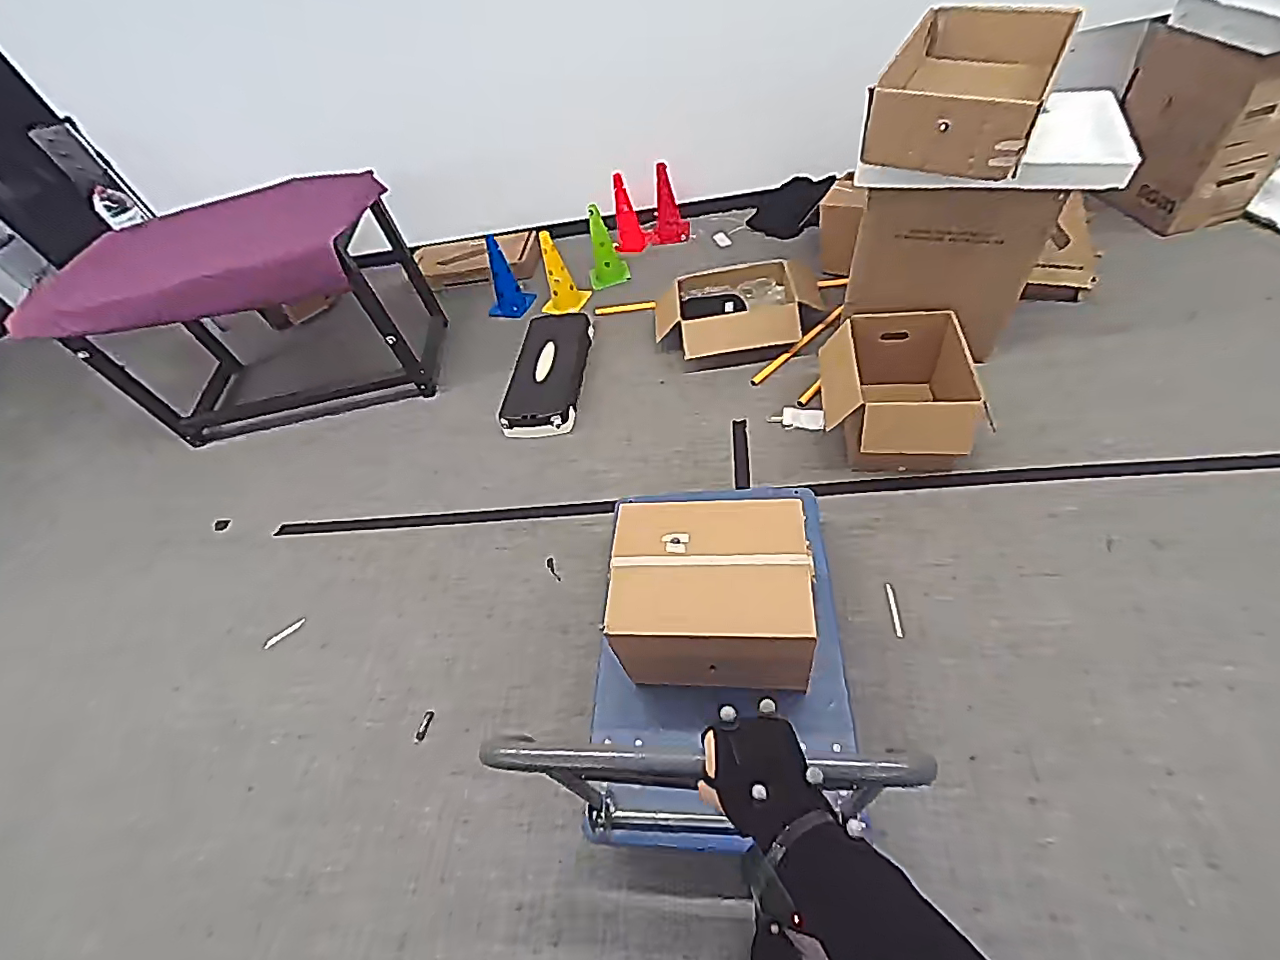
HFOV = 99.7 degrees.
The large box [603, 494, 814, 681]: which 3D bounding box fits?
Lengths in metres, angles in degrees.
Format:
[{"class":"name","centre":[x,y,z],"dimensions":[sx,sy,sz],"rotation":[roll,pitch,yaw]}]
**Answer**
[{"class":"large box","centre":[0.161,0.253,1.218],"dimensions":[0.408,0.320,0.320],"rotation":[-4,51,12]}]
